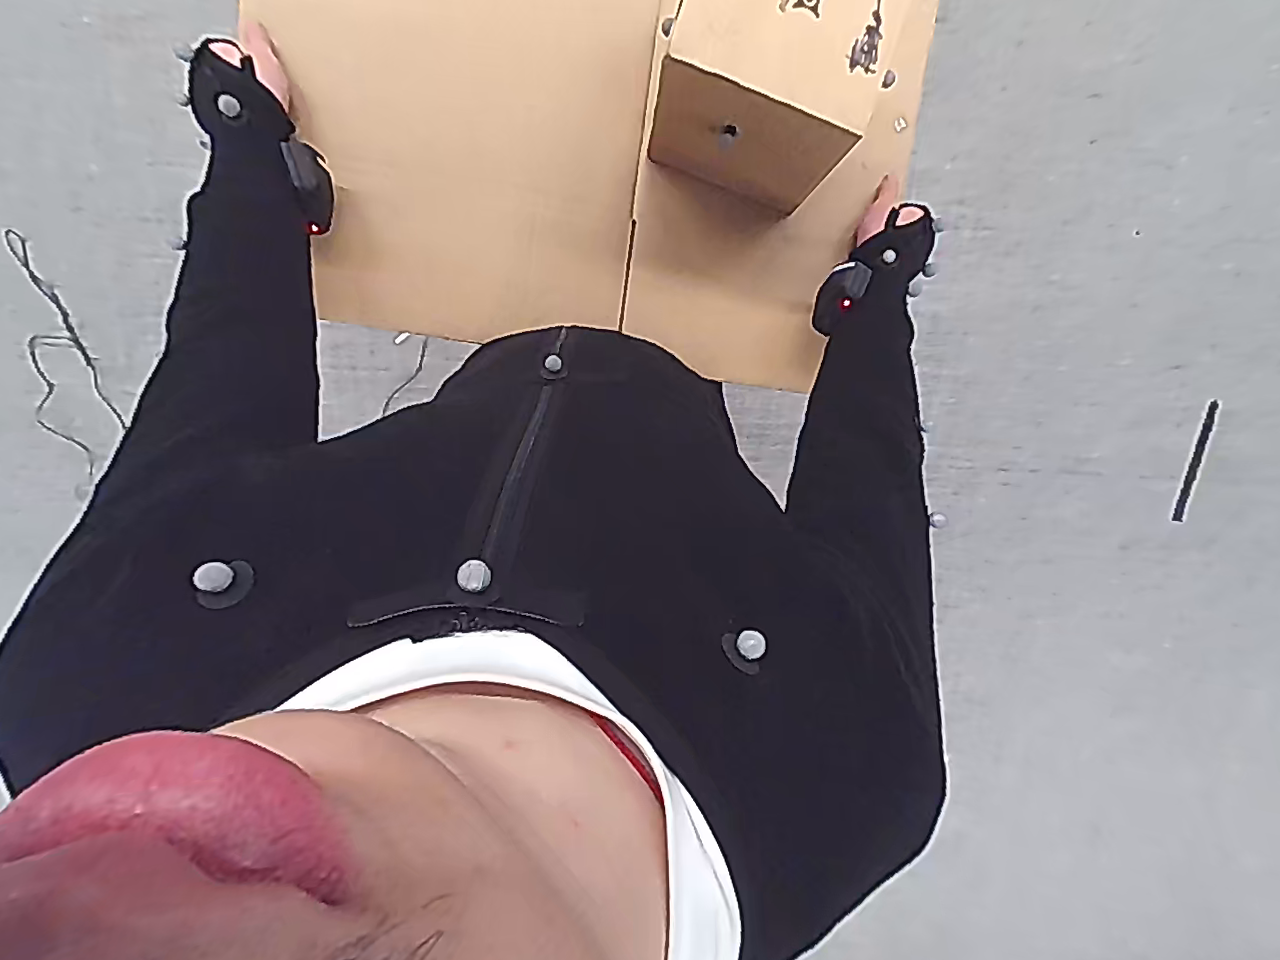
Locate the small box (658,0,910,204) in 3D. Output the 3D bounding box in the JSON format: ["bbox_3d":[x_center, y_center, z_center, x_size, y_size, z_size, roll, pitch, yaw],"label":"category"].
[{"bbox_3d":[0.124,-0.396,0.515,0.179,0.176,0.168,18,95,-5],"label":"small box"}]
